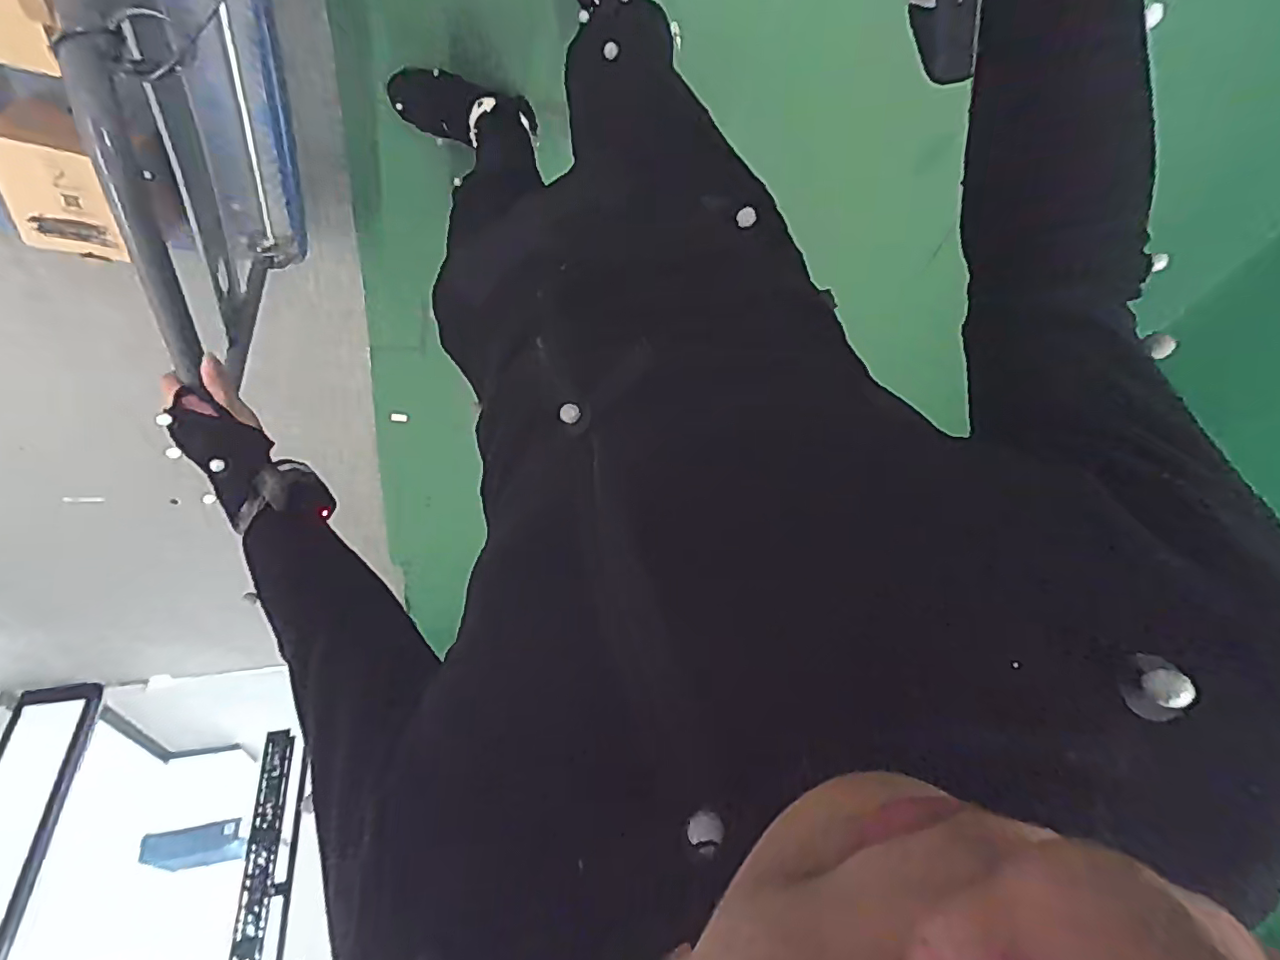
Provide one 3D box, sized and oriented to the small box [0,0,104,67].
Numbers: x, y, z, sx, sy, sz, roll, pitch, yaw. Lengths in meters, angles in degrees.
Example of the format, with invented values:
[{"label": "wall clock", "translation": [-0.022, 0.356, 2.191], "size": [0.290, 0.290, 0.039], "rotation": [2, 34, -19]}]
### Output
[{"label": "small box", "translation": [-0.860, -0.679, 0.698], "size": [0.179, 0.176, 0.168], "rotation": [1, 141, -23]}]
